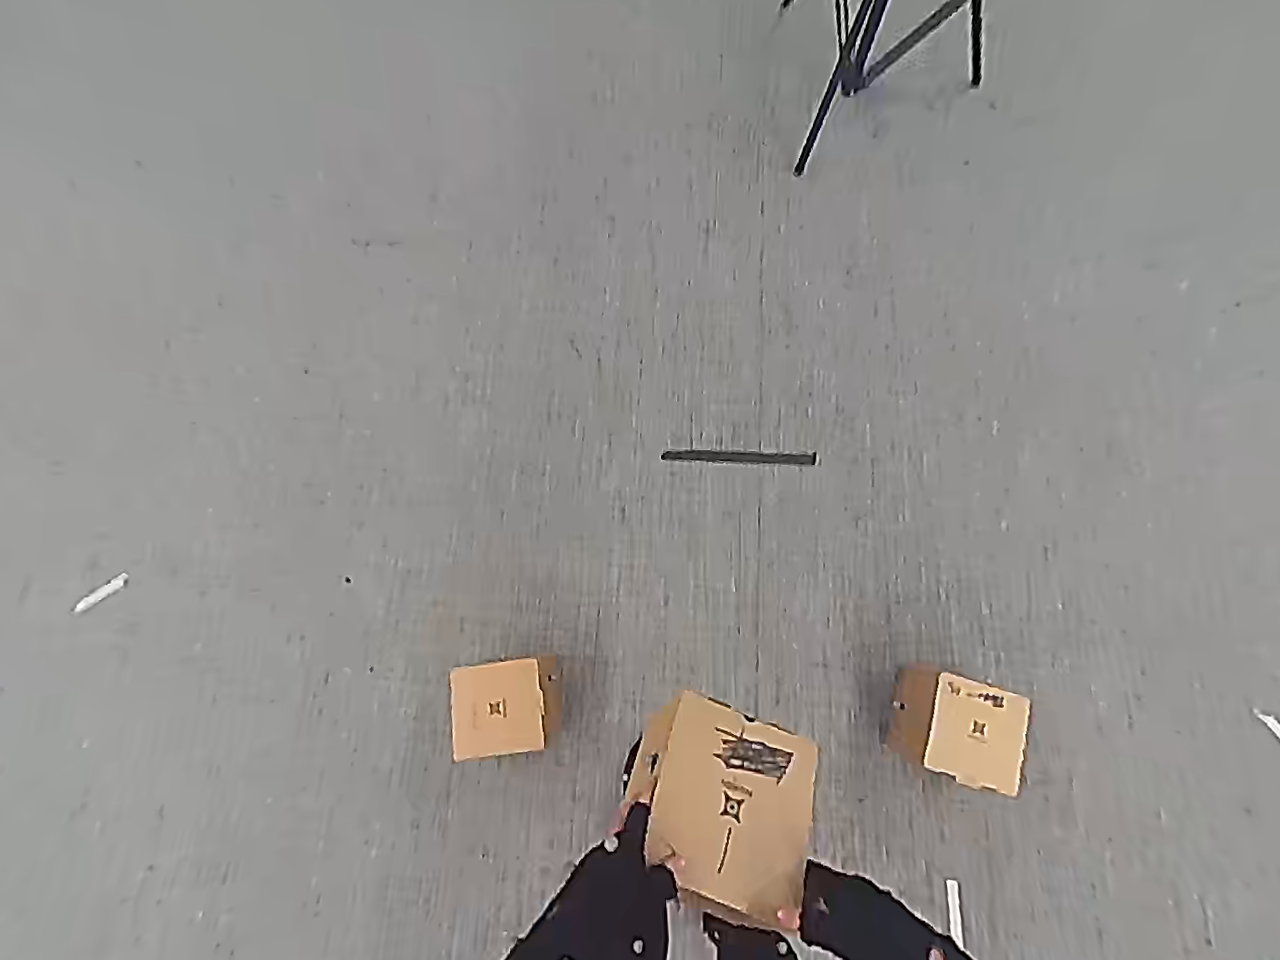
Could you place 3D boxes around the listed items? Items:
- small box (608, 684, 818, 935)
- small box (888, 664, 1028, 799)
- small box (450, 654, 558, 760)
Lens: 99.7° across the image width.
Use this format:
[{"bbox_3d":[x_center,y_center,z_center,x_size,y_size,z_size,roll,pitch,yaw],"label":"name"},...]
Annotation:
[{"bbox_3d":[0.075,0.361,0.599,0.168,0.176,0.179,22,52,1],"label":"small box"},{"bbox_3d":[0.607,0.477,1.053,0.168,0.176,0.179,17,78,6],"label":"small box"},{"bbox_3d":[-0.267,0.450,1.097,0.179,0.176,0.168,-8,74,1],"label":"small box"}]
